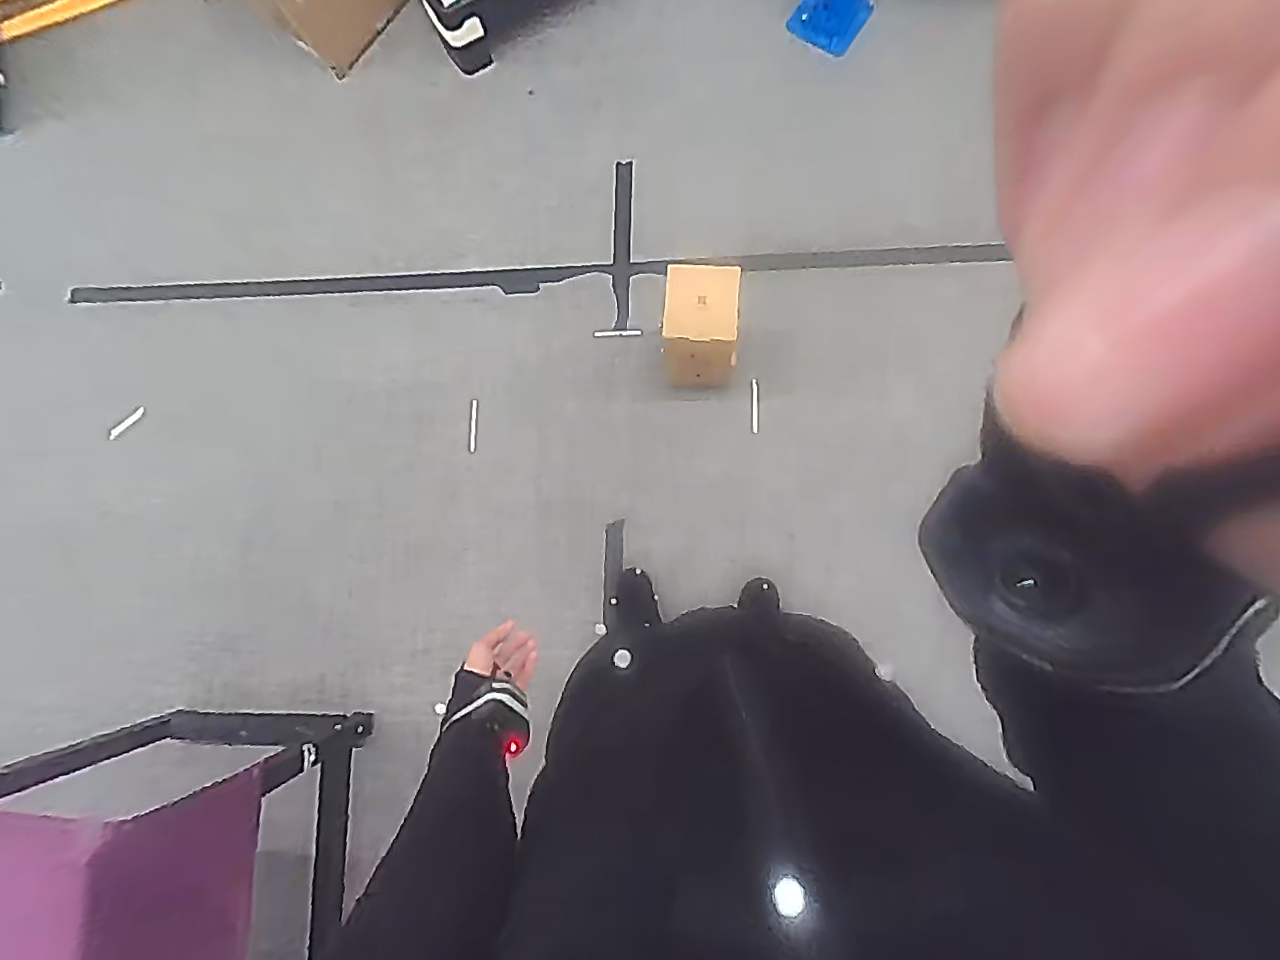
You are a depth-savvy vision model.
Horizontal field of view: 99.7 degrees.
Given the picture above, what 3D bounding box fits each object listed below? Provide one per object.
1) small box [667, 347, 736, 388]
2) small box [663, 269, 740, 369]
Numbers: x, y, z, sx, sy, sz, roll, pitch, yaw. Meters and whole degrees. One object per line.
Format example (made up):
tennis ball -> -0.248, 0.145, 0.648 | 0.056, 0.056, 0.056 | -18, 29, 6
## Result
small box -> 0.160, -0.348, 1.447 | 0.179, 0.176, 0.168 | -1, 83, 5
small box -> 0.143, -0.379, 1.288 | 0.168, 0.176, 0.179 | 4, 84, 5
